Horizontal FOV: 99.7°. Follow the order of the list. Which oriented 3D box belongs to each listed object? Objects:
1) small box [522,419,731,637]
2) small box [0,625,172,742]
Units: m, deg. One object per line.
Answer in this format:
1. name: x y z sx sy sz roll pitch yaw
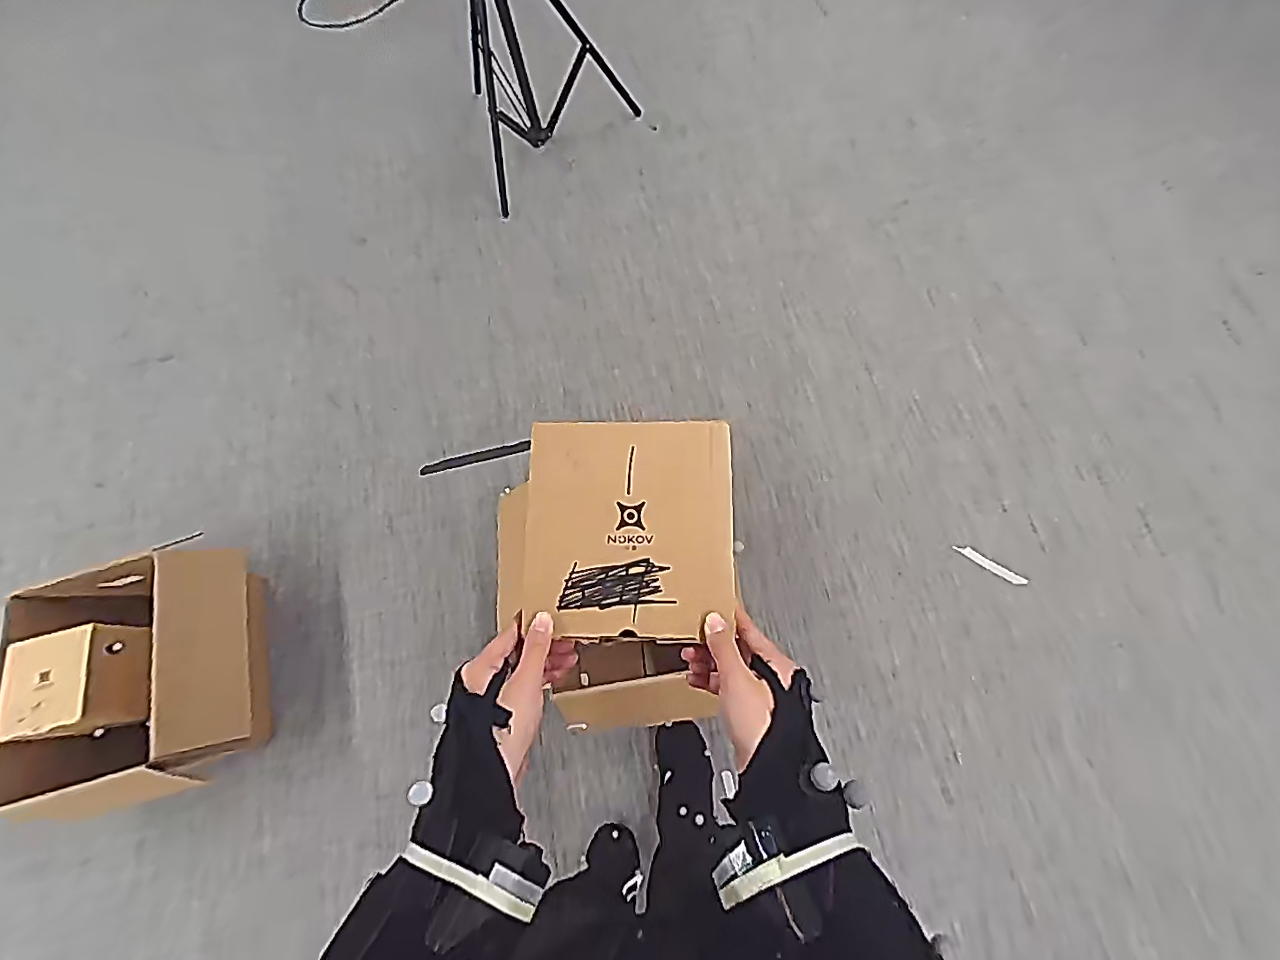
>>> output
1. small box: -0.005 0.052 0.510 0.168 0.176 0.179 0 77 2
2. small box: -1.072 0.396 1.062 0.168 0.176 0.179 -14 70 1
